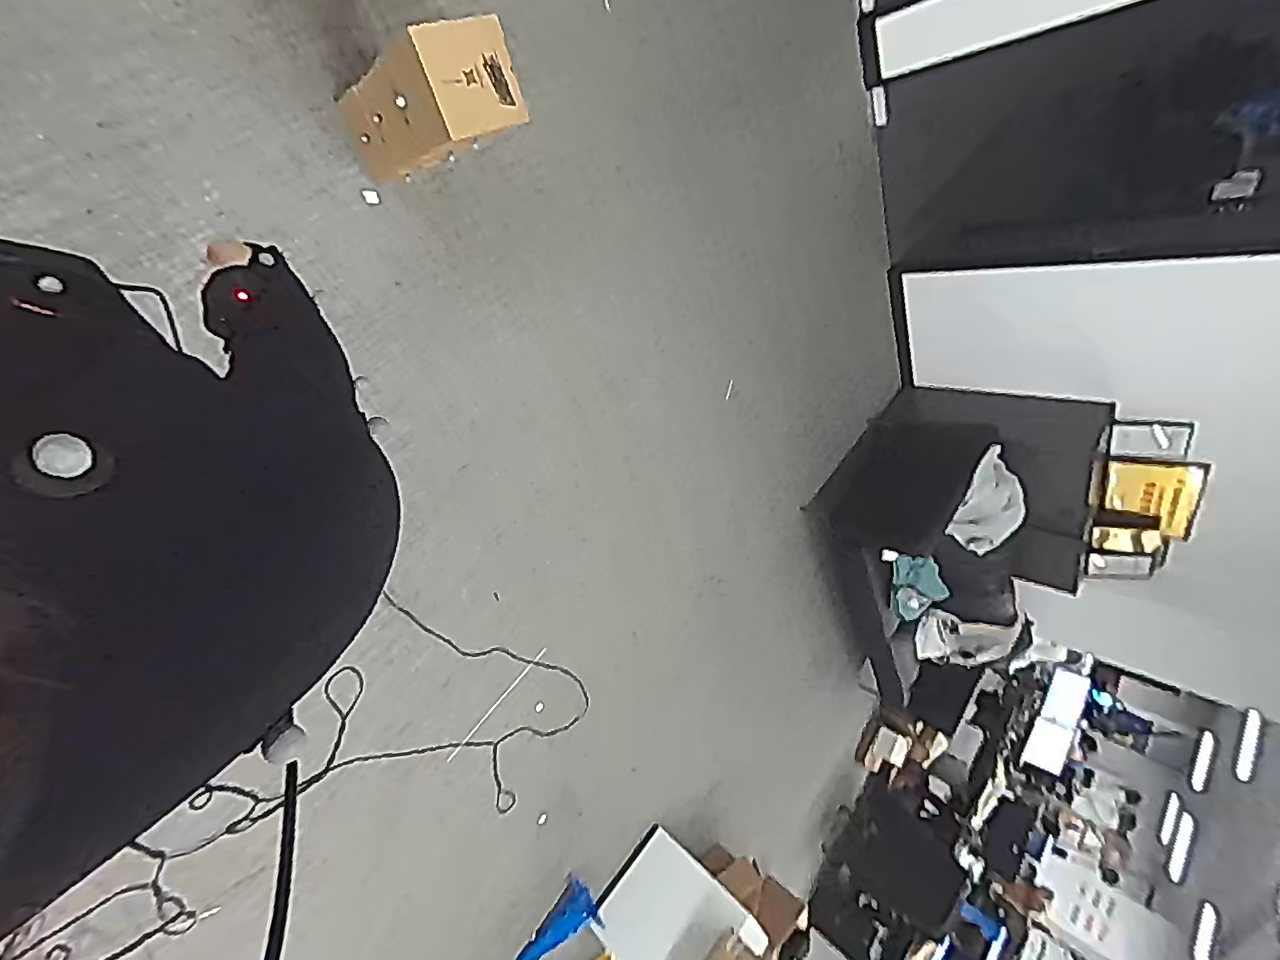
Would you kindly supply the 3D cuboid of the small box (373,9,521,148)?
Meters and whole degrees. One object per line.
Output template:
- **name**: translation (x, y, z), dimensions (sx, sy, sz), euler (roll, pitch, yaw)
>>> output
- **small box**: translation (-0.358, -0.739, 1.005), dimensions (0.179, 0.176, 0.168), euler (-36, 126, -28)

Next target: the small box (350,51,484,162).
- **small box**: translation (-0.463, -0.784, 1.124), dimensions (0.179, 0.176, 0.168), euler (-38, 128, -28)
